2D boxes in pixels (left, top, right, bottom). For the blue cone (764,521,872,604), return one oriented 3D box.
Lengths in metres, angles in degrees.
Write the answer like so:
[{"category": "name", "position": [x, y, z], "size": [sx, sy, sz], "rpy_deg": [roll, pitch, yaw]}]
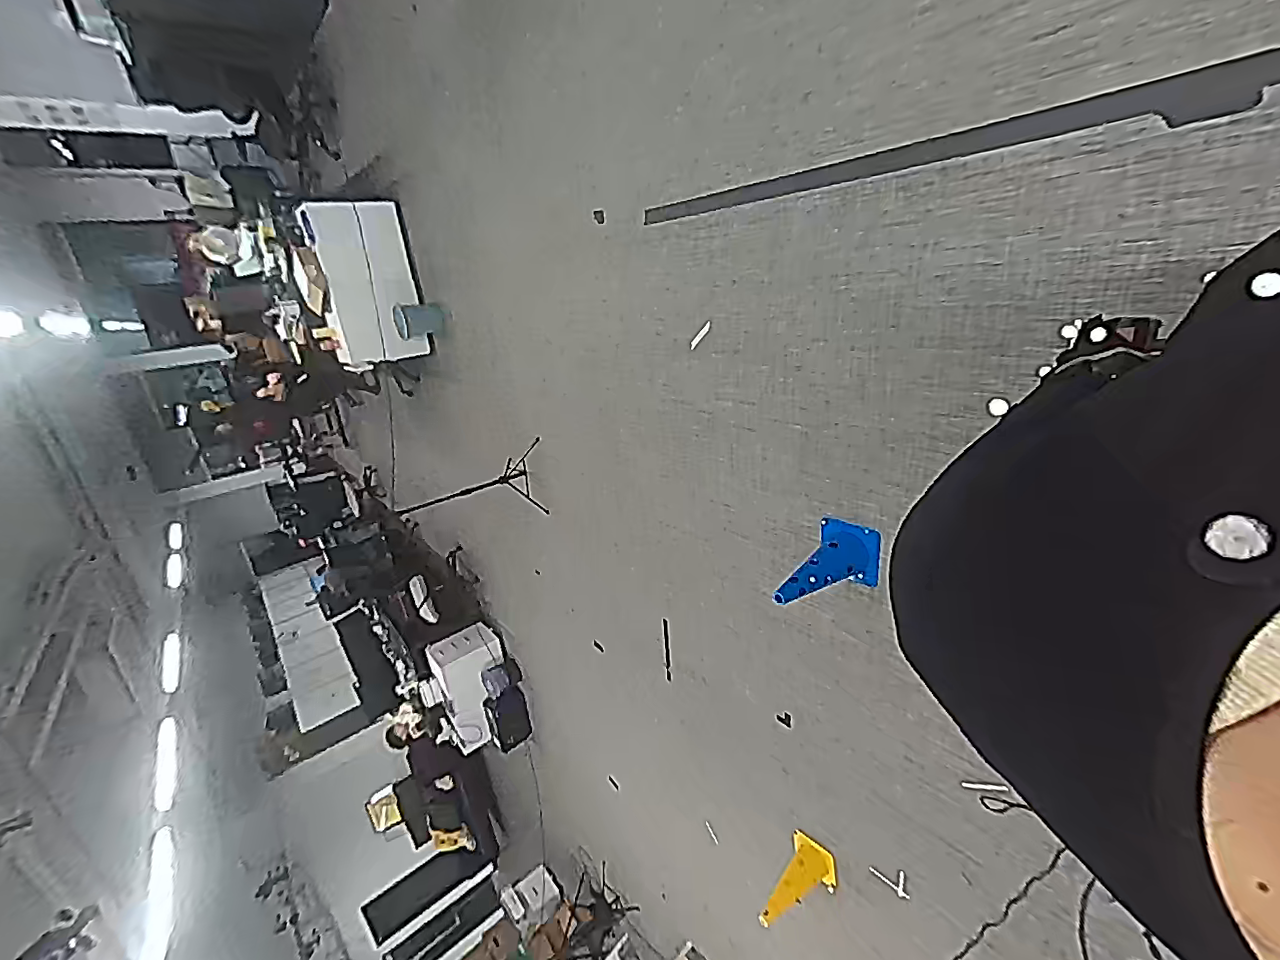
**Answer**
[{"category": "blue cone", "position": [0.516, 0.280, 1.619], "size": [0.192, 0.380, 0.193], "rpy_deg": [21, 124, 49]}]
